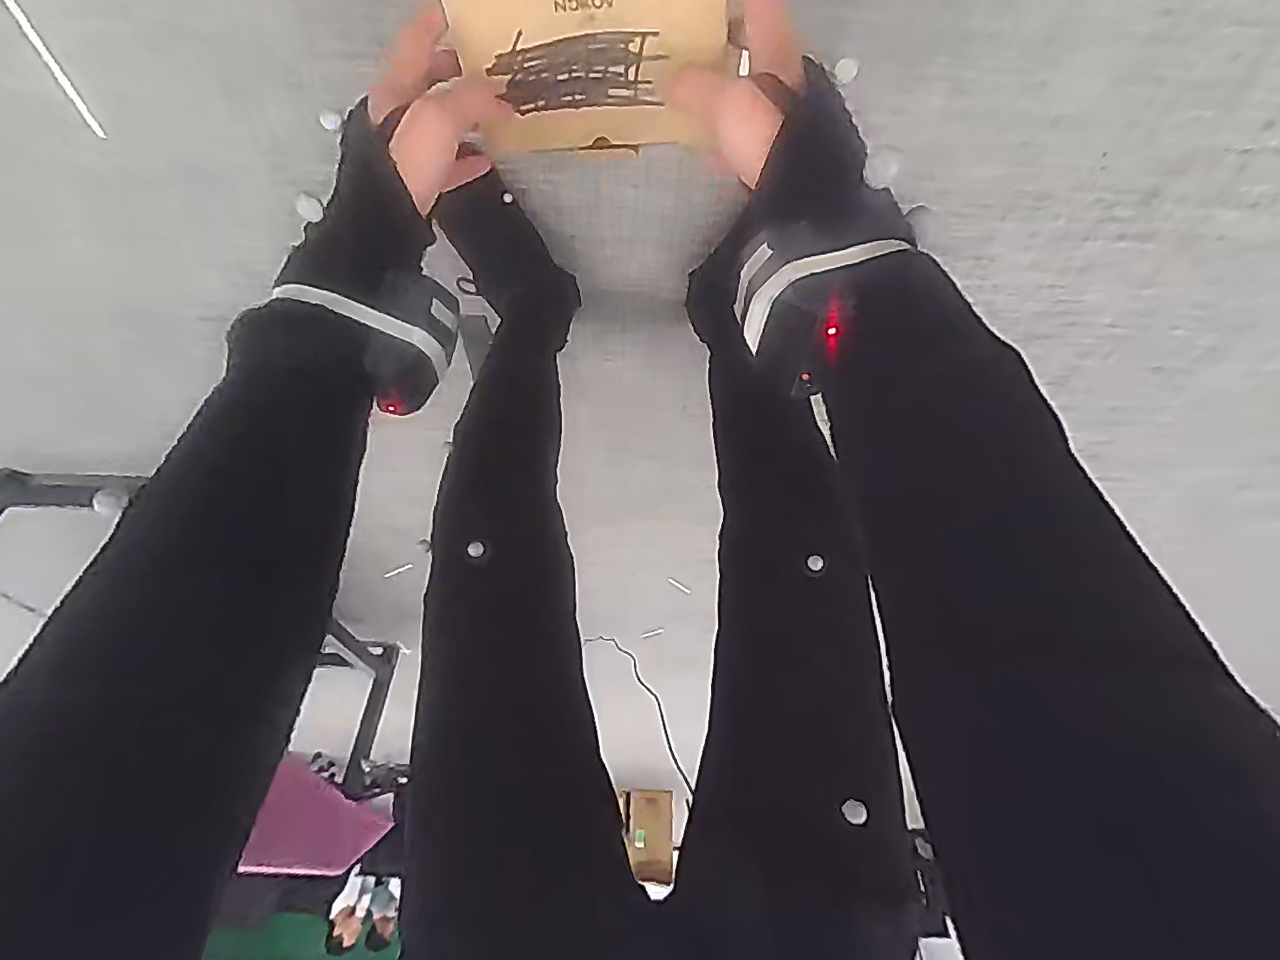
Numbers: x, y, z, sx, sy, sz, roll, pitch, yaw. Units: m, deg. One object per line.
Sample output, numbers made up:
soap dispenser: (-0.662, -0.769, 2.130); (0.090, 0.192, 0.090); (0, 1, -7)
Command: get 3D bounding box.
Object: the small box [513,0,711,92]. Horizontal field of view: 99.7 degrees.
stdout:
small box: (-0.023, -0.472, 0.472); (0.168, 0.176, 0.179); (0, 144, 2)
